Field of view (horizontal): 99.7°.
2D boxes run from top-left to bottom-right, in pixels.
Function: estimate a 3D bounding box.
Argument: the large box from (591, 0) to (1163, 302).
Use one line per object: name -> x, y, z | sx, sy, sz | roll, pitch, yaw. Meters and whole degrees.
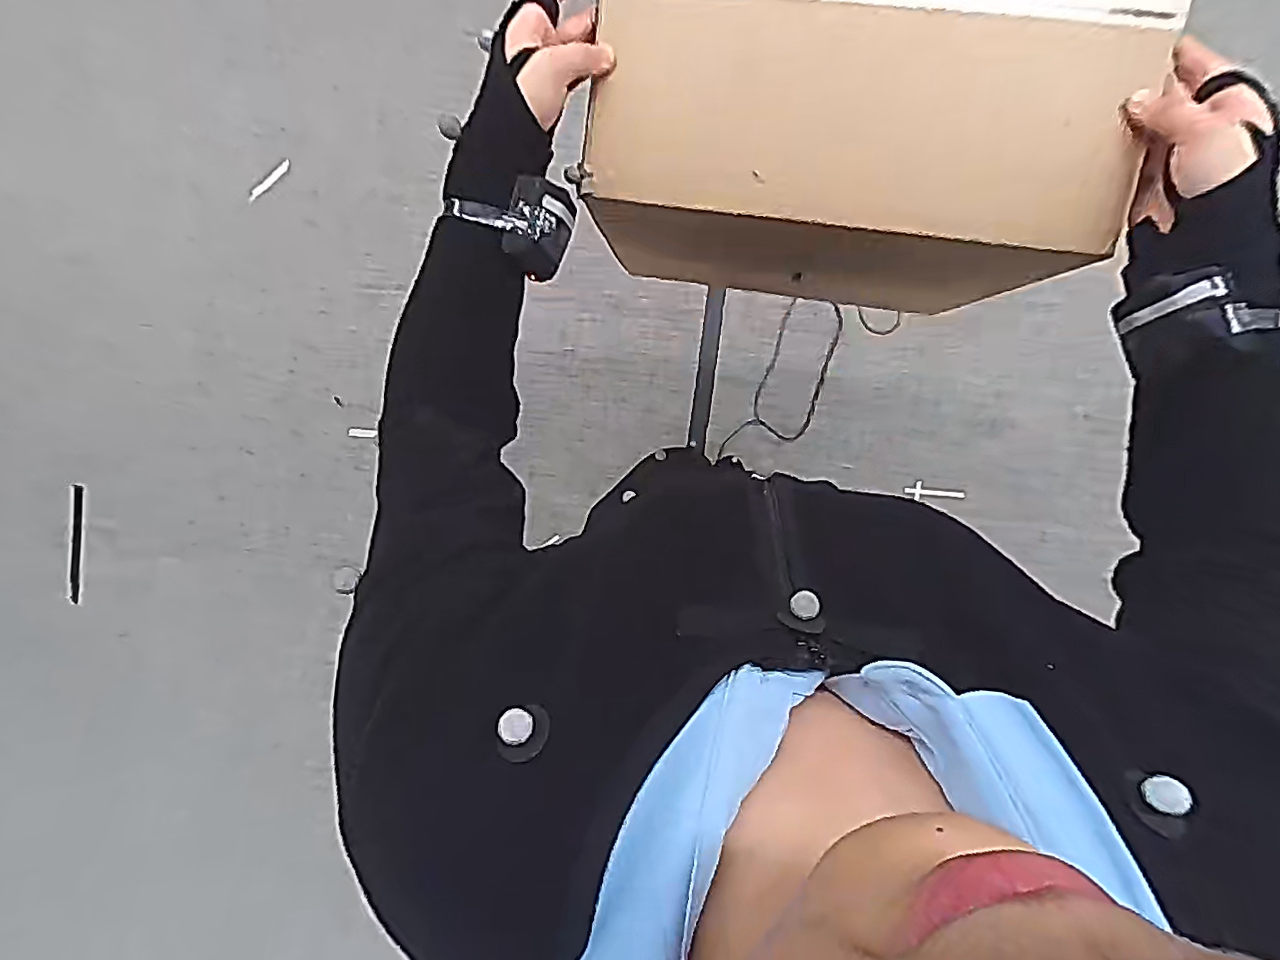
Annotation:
large box -> 0.190, -0.376, 0.547 | 0.408, 0.320, 0.320 | 8, 99, 5
